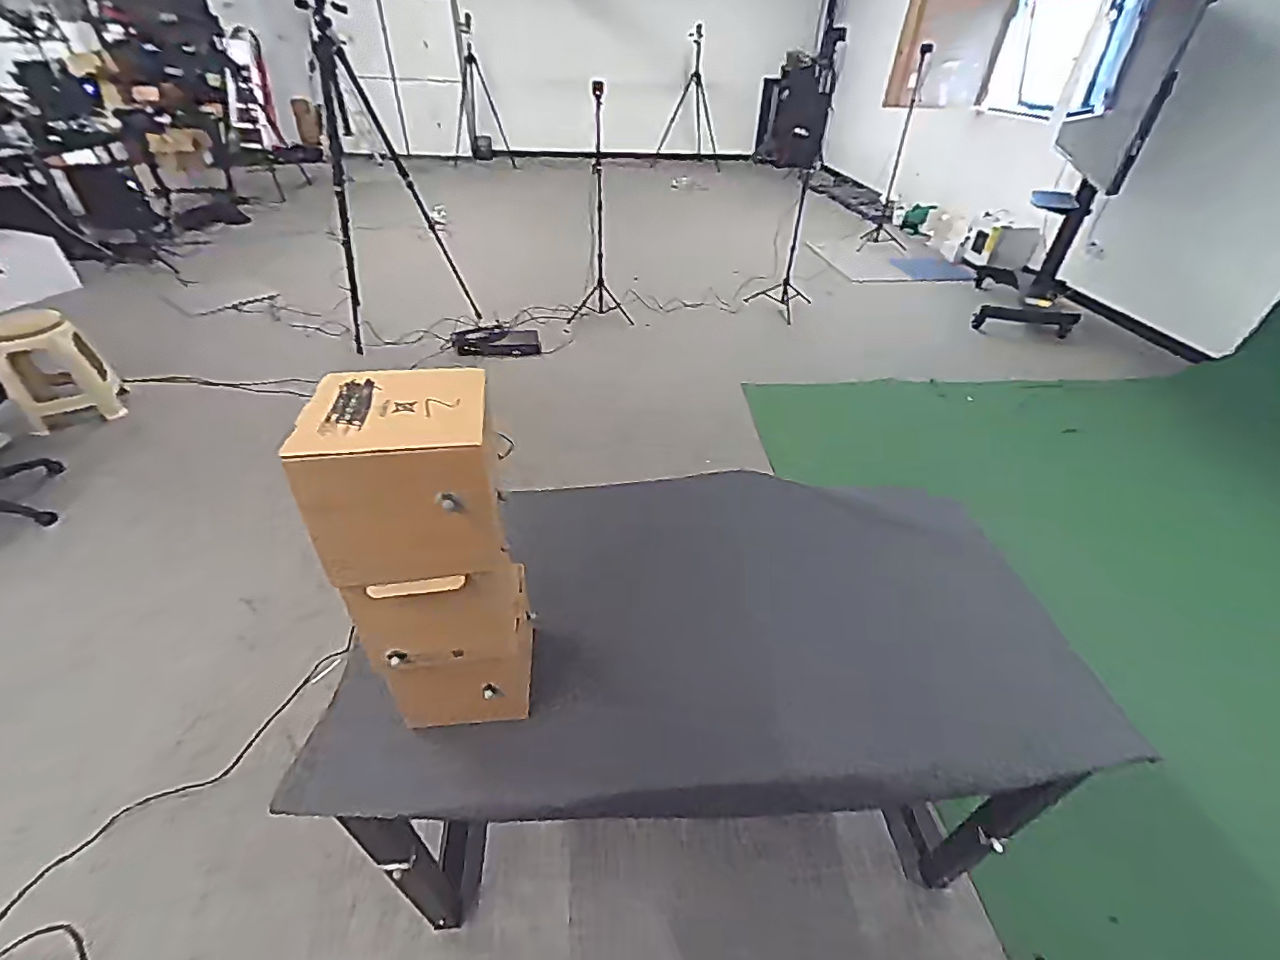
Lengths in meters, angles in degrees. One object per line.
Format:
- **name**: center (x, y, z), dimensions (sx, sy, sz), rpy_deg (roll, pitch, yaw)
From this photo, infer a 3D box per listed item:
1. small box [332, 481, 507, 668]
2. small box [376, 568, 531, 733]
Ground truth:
- **small box**: center (-0.266, 0.124, 0.701), dimensions (0.168, 0.176, 0.179), rpy_deg (-5, 37, -10)
- **small box**: center (-0.260, 0.253, 0.805), dimensions (0.179, 0.176, 0.168), rpy_deg (-4, 37, -6)
